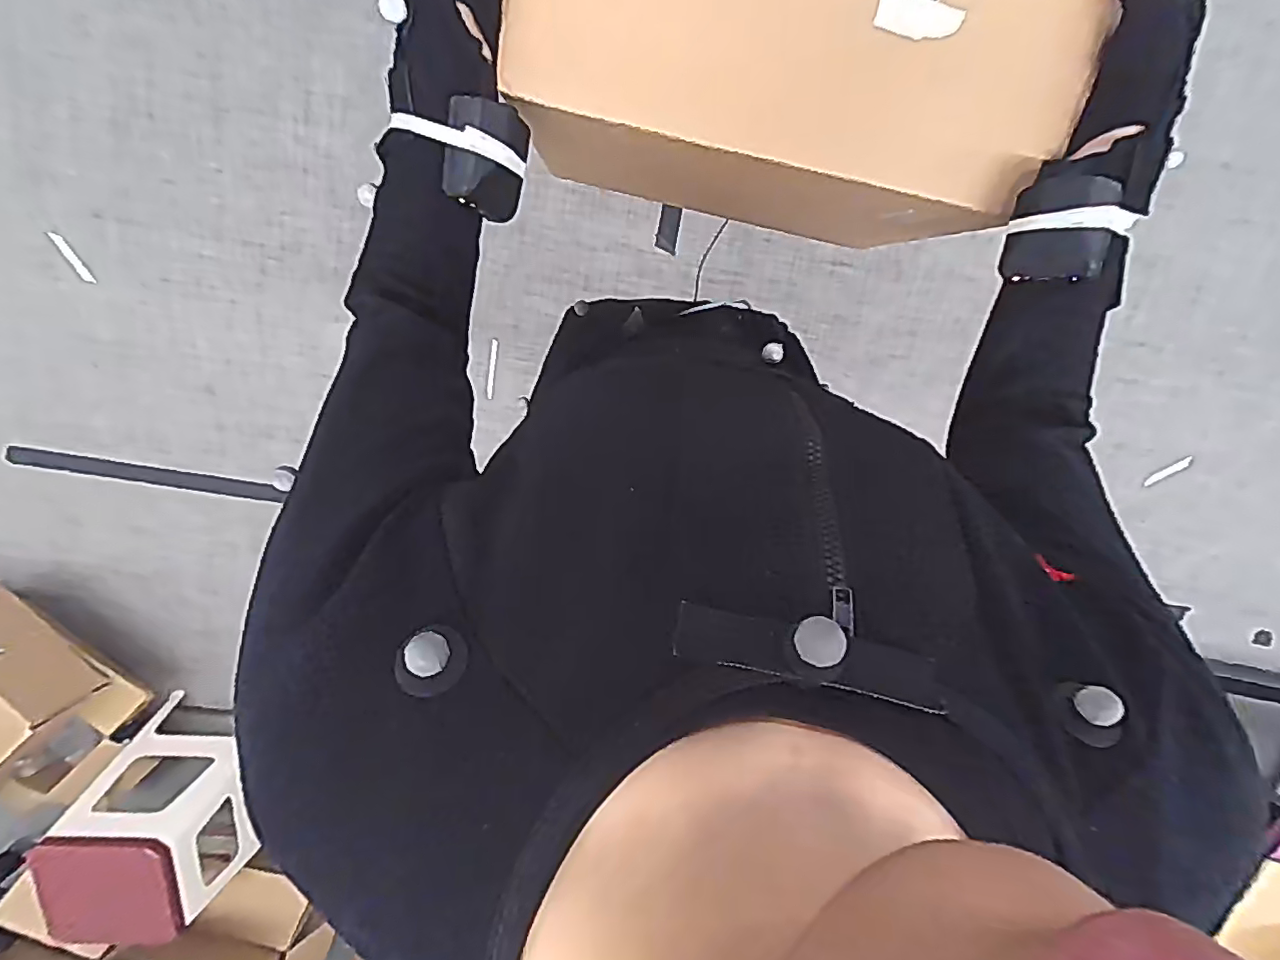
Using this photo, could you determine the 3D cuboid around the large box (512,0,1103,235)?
[{"bbox_3d":[0.121,-0.433,0.487,0.408,0.320,0.320,10,110,-7],"label":"large box"}]
